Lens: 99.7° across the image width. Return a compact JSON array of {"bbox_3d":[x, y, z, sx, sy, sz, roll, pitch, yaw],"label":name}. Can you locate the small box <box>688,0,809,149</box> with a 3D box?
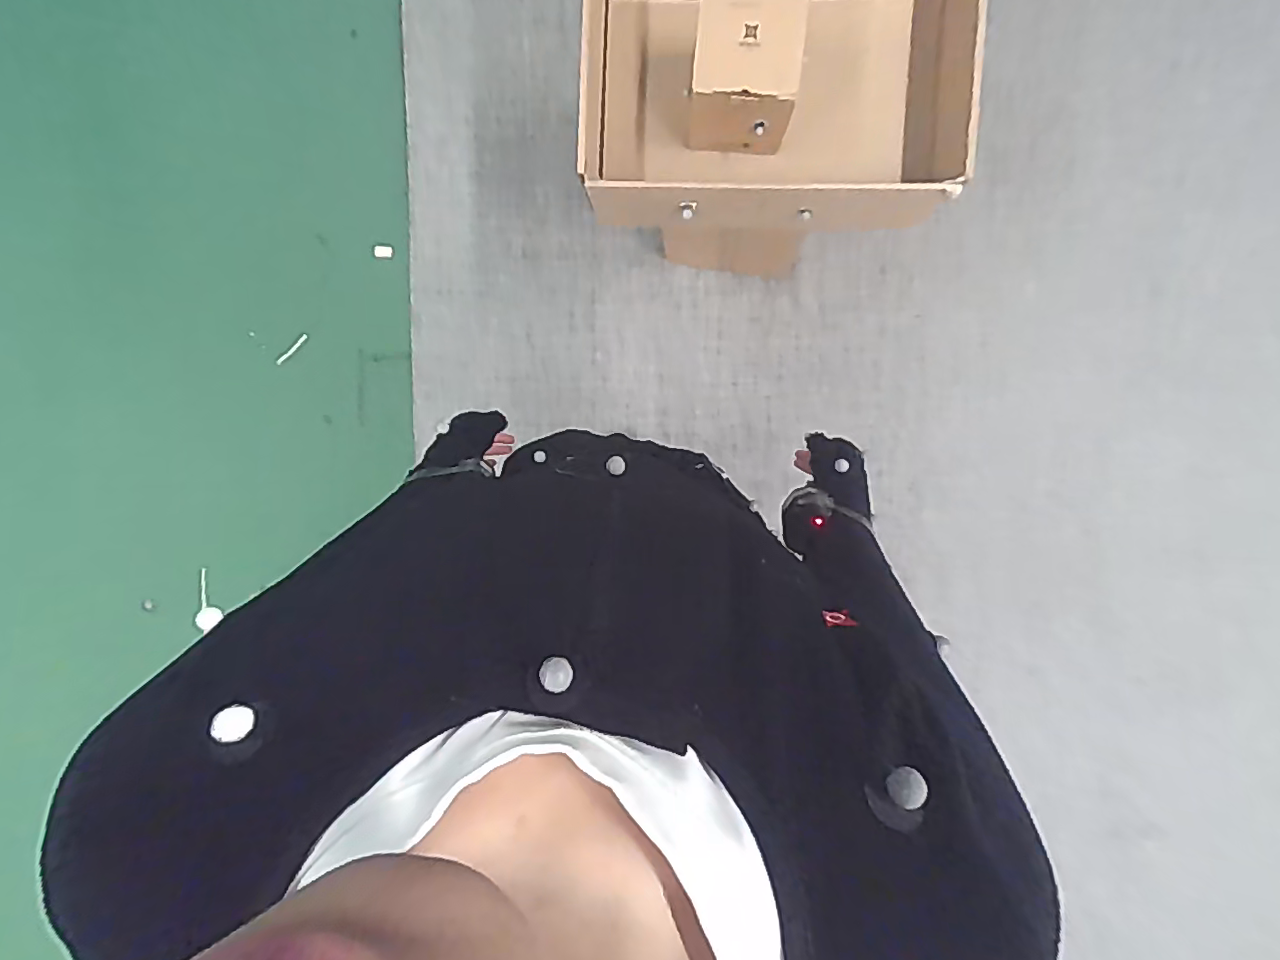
[{"bbox_3d":[0.170,-0.680,0.893,0.168,0.176,0.179,5,93,1],"label":"small box"}]
